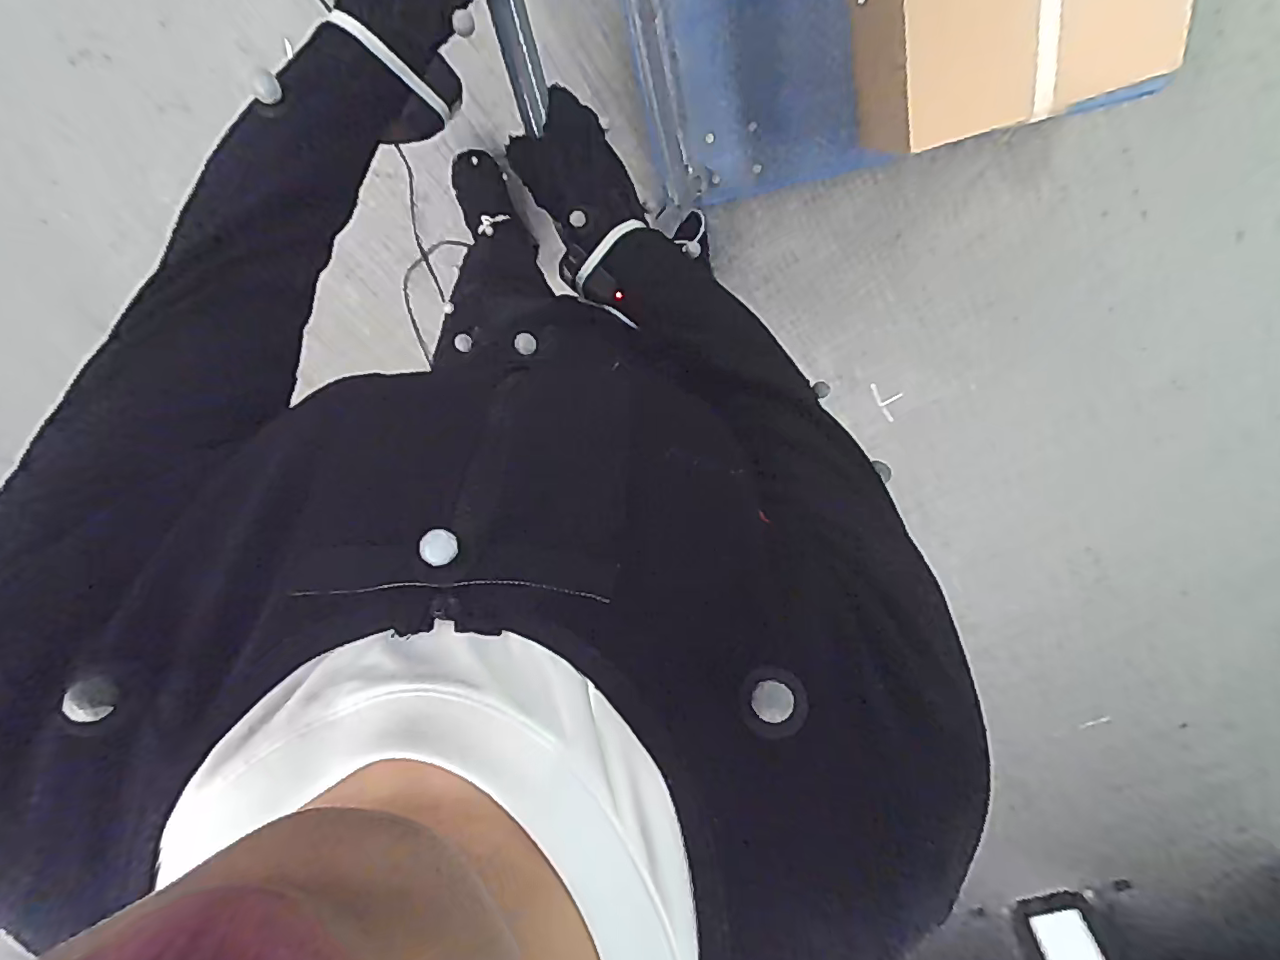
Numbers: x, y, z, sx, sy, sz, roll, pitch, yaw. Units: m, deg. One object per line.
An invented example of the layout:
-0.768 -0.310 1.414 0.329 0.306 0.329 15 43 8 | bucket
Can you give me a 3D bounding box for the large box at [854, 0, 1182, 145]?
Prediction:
0.477 -0.738 0.738 0.320 0.320 0.408 -11 121 15 | large box
